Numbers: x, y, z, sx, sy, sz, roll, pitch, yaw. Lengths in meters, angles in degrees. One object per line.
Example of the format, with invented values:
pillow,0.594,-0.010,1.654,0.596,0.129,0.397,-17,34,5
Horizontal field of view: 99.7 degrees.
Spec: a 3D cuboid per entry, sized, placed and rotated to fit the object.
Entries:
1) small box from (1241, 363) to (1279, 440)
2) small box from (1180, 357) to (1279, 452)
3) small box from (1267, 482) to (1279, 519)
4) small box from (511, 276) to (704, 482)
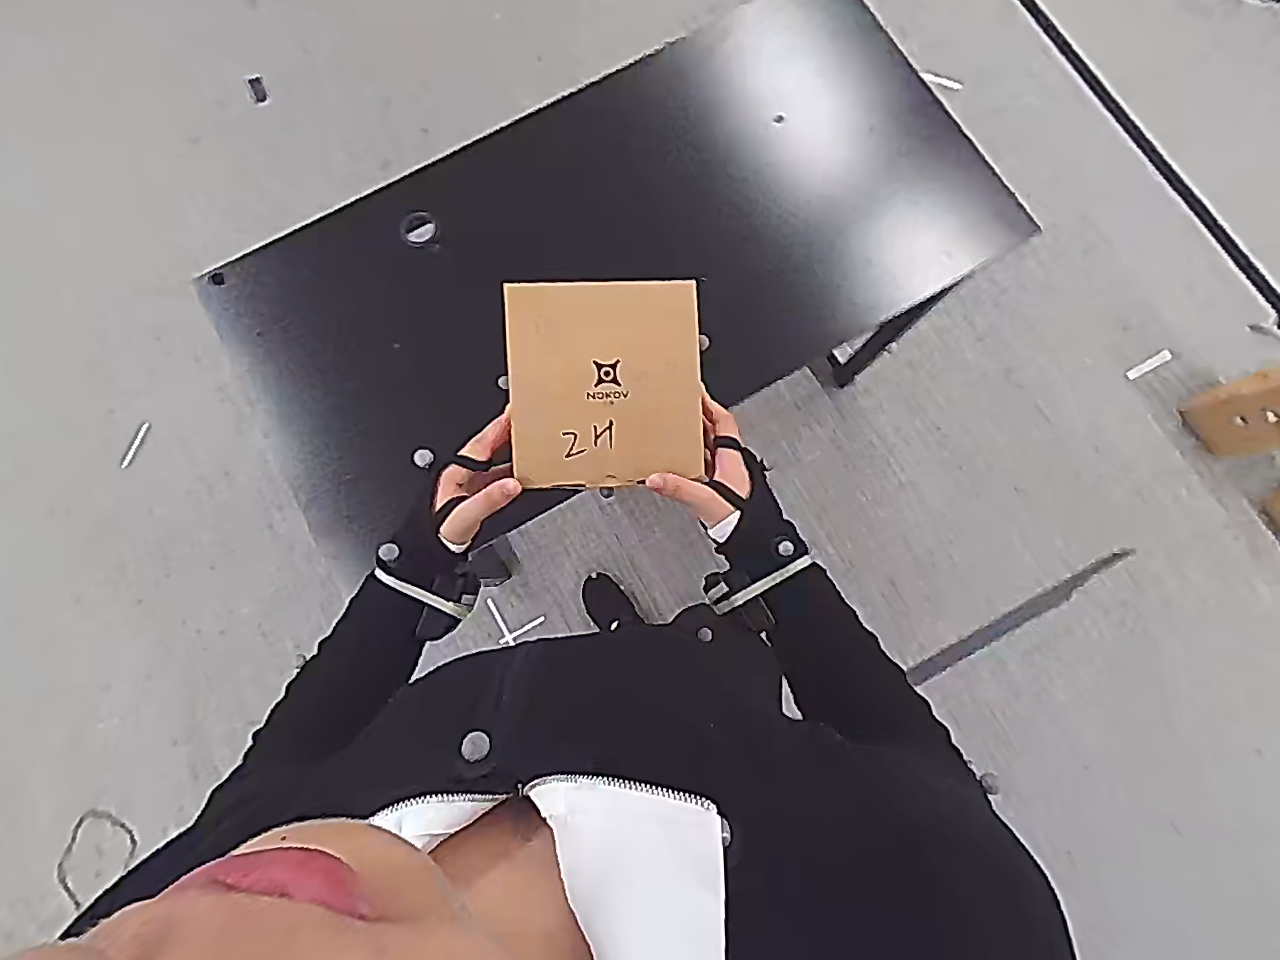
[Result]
small box,1.644,-0.218,1.302,0.179,0.176,0.168,-33,80,-3
small box,1.647,-0.197,1.463,0.168,0.176,0.179,-31,82,-4
small box,1.835,0.059,1.421,0.179,0.176,0.168,-29,82,-3
small box,-0.034,-0.087,0.541,0.168,0.176,0.179,-2,91,-4
